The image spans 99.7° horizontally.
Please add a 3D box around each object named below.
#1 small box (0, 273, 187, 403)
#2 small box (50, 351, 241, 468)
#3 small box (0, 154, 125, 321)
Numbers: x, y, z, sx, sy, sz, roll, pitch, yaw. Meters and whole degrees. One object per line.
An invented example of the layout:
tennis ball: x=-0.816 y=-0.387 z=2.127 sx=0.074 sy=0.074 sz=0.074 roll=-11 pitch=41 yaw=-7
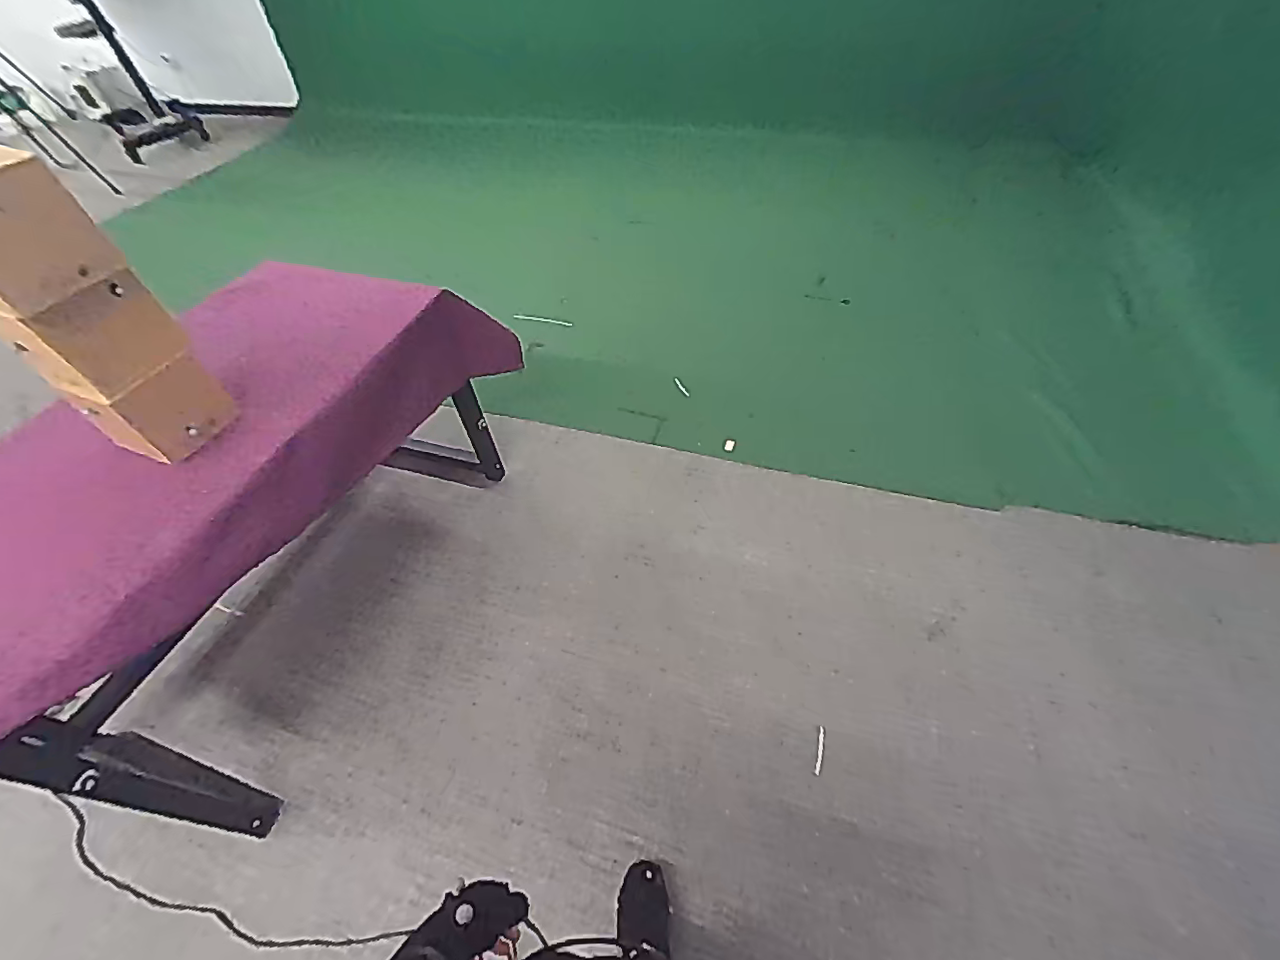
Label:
small box: x=-0.947 y=-0.255 z=0.923 sx=0.168 sy=0.176 sz=0.179 roll=15 pitch=53 yaw=16
small box: x=-0.937 y=-0.147 z=1.042 sx=0.179 sy=0.176 sz=0.168 roll=17 pitch=54 yaw=17
small box: x=-0.937 y=-0.355 z=0.790 sx=0.179 sy=0.176 sz=0.168 roll=16 pitch=54 yaw=19
